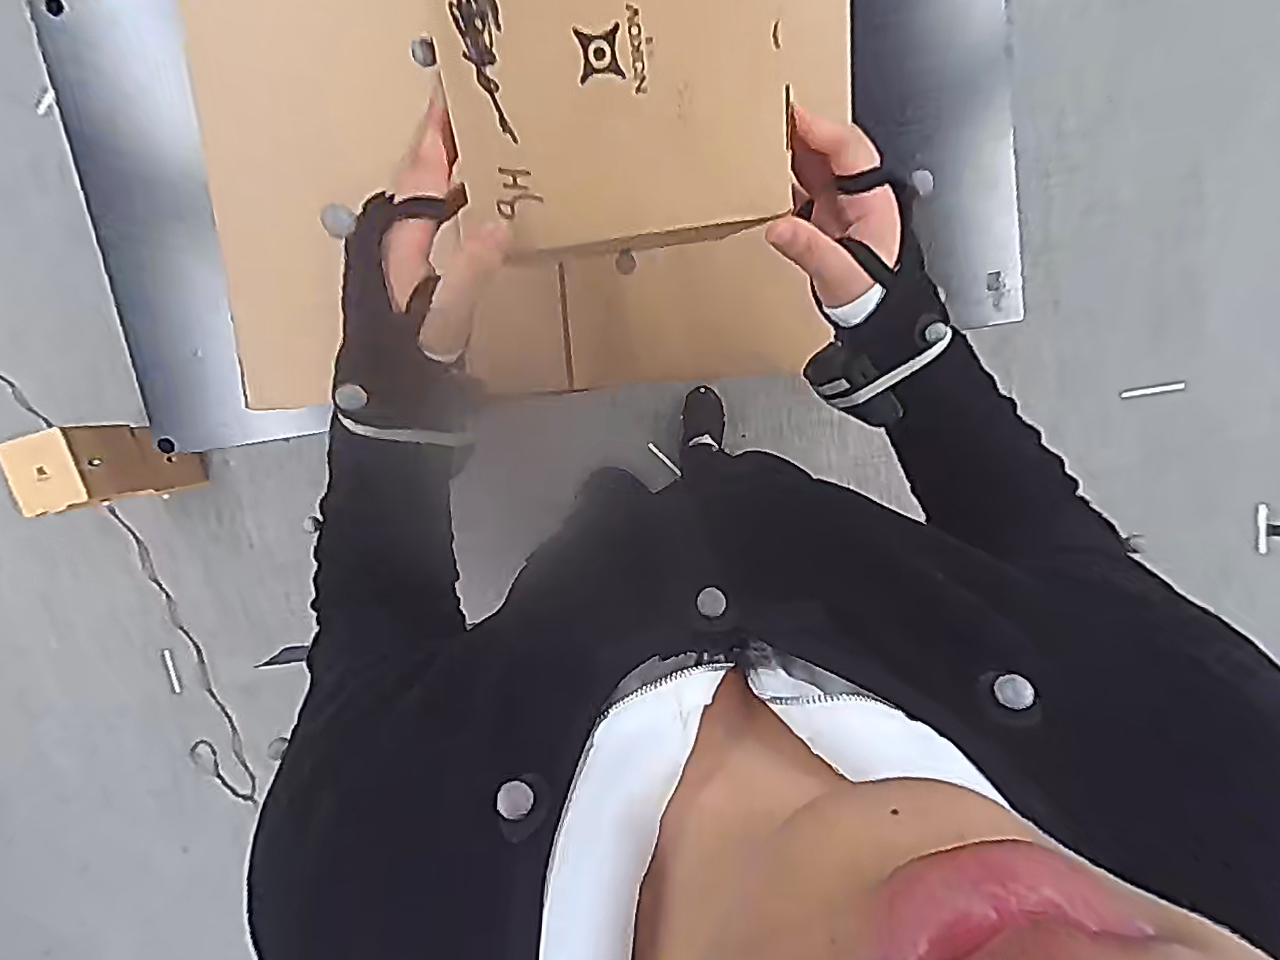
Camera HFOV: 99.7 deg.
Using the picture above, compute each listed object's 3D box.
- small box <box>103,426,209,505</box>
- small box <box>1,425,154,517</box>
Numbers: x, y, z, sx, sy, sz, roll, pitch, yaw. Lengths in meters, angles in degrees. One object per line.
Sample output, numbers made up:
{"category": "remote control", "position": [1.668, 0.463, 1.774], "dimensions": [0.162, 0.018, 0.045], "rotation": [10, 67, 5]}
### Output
{"category": "small box", "position": [-1.327, -0.045, 1.461], "dimensions": [0.168, 0.176, 0.179], "rotation": [-13, 98, 4]}
{"category": "small box", "position": [-1.335, -0.027, 1.300], "dimensions": [0.168, 0.176, 0.179], "rotation": [-15, 97, 4]}
